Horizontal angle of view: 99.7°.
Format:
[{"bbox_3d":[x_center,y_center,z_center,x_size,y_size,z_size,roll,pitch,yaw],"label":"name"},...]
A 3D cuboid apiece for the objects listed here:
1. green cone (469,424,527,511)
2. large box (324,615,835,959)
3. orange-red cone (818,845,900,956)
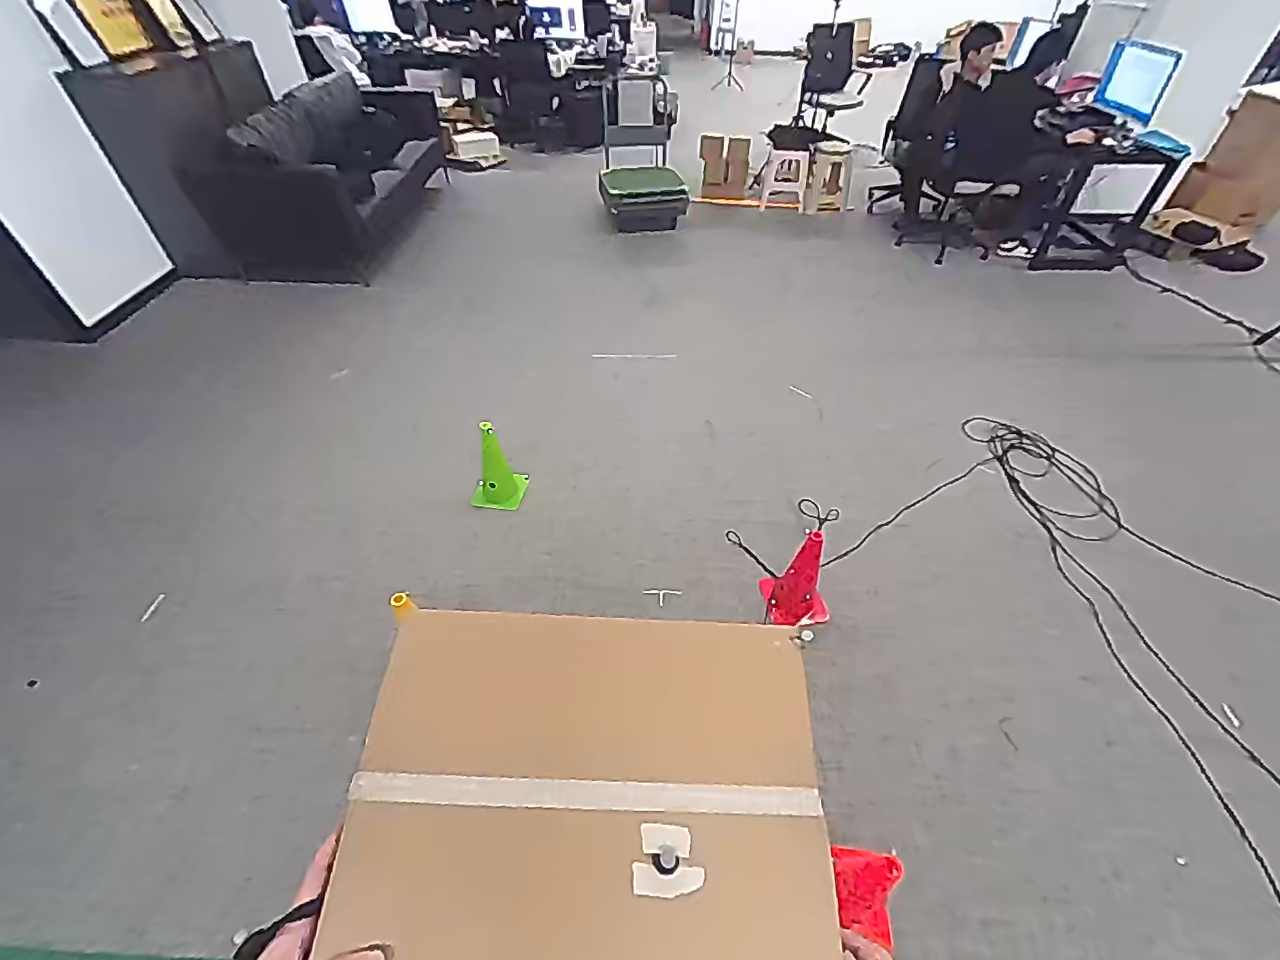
[{"bbox_3d":[-0.589,-0.074,2.124,0.200,0.368,0.202,6,46,5],"label":"green cone"},{"bbox_3d":[-0.051,0.358,0.606,0.408,0.320,0.320,3,57,-2],"label":"large box"},{"bbox_3d":[0.486,0.886,1.179,0.199,0.360,0.198,8,46,5],"label":"orange-red cone"}]
